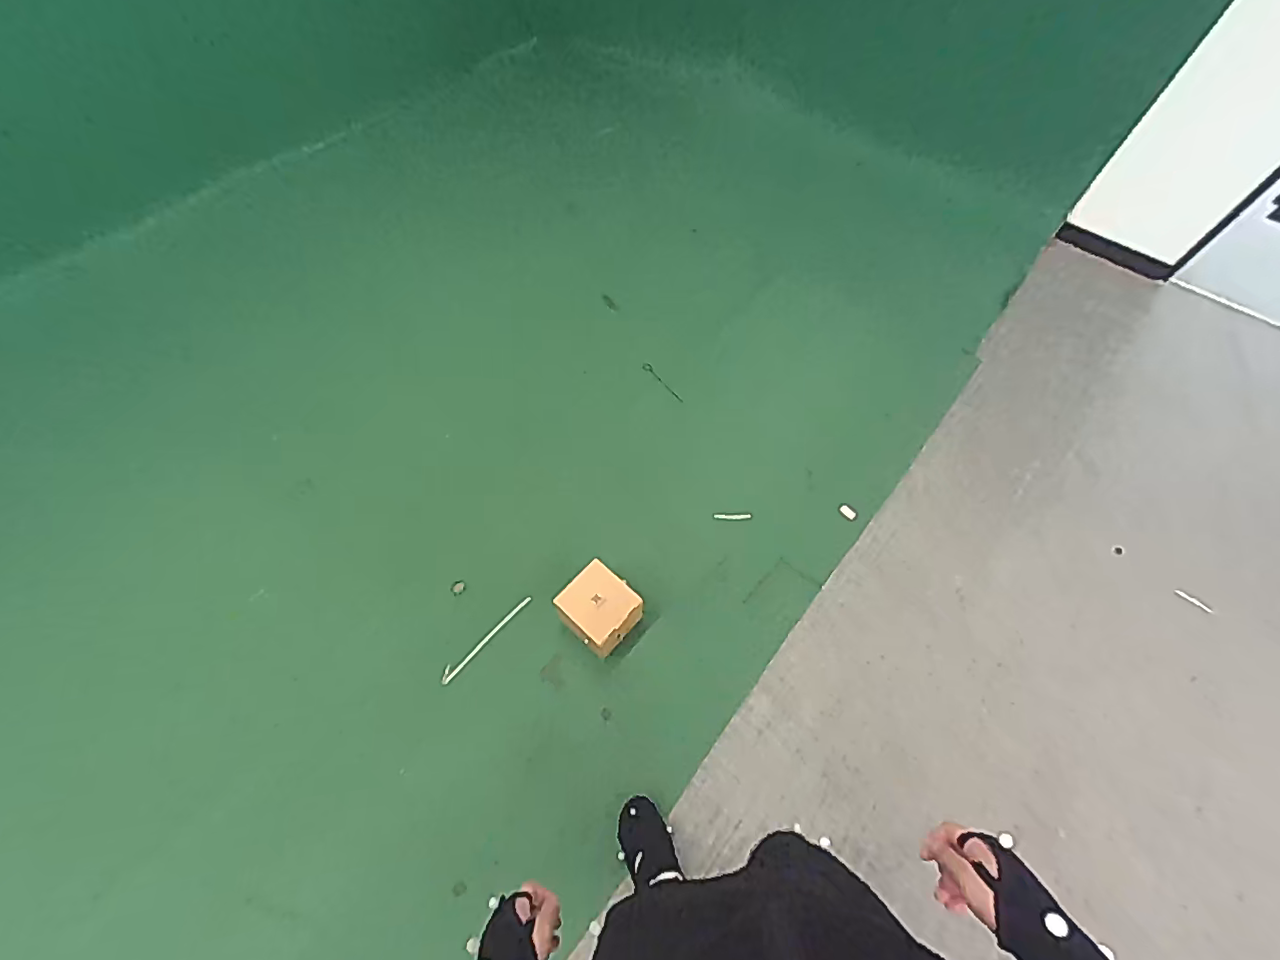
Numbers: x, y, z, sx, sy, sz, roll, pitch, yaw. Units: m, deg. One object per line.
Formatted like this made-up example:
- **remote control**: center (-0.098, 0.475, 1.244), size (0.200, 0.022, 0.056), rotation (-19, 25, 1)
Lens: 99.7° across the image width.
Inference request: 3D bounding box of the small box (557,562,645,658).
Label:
- **small box**: center (-0.106, 0.362, 1.485), size (0.179, 0.176, 0.168), rotation (38, 66, 17)
